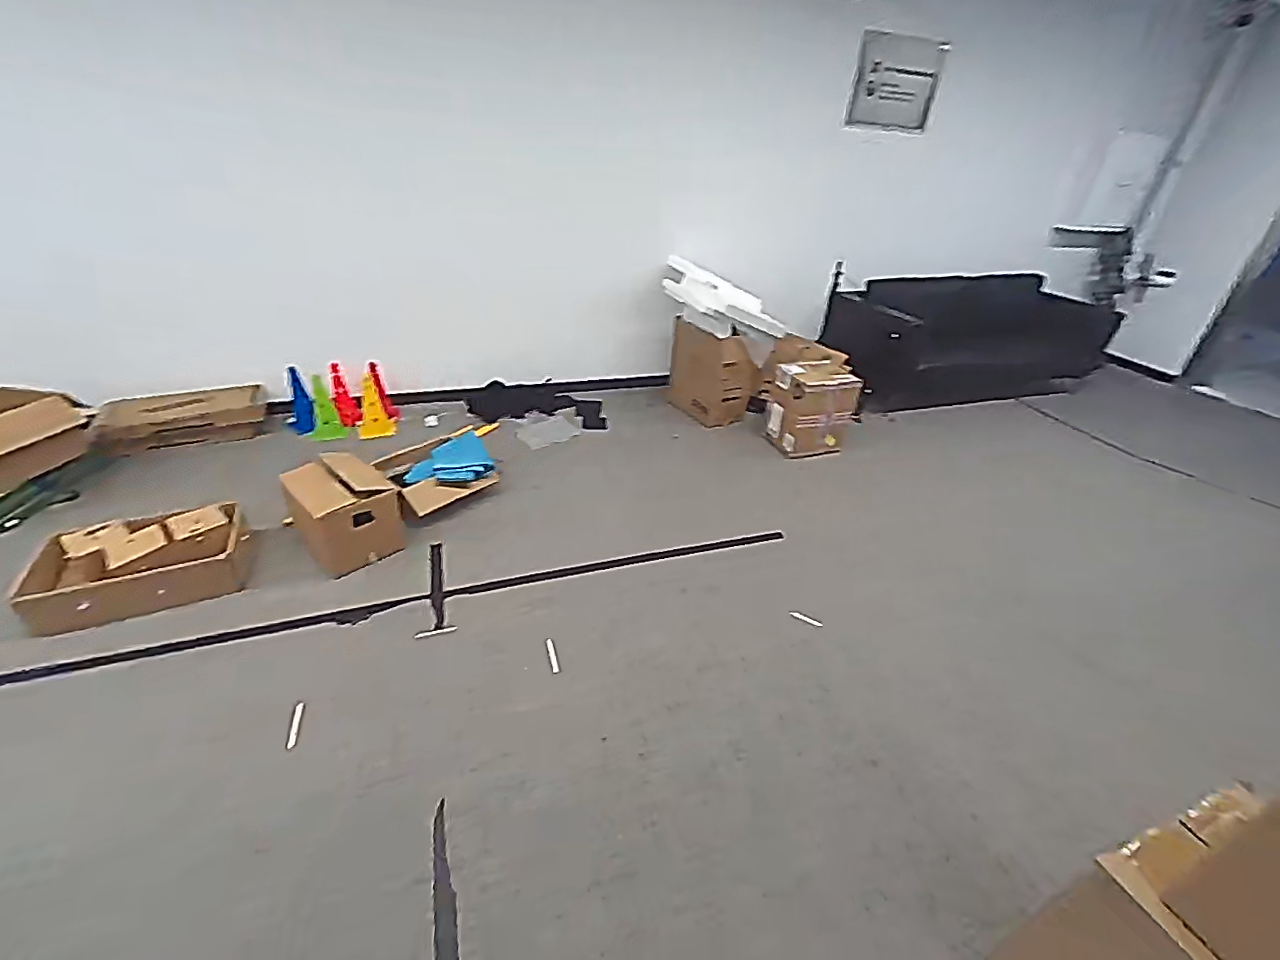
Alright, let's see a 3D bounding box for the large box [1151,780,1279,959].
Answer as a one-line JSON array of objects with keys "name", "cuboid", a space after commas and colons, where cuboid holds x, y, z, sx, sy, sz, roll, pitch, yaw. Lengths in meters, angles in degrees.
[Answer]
[{"name": "large box", "cuboid": [1.037, 0.611, 0.695, 0.320, 0.320, 0.408, -9, 34, -20]}]
